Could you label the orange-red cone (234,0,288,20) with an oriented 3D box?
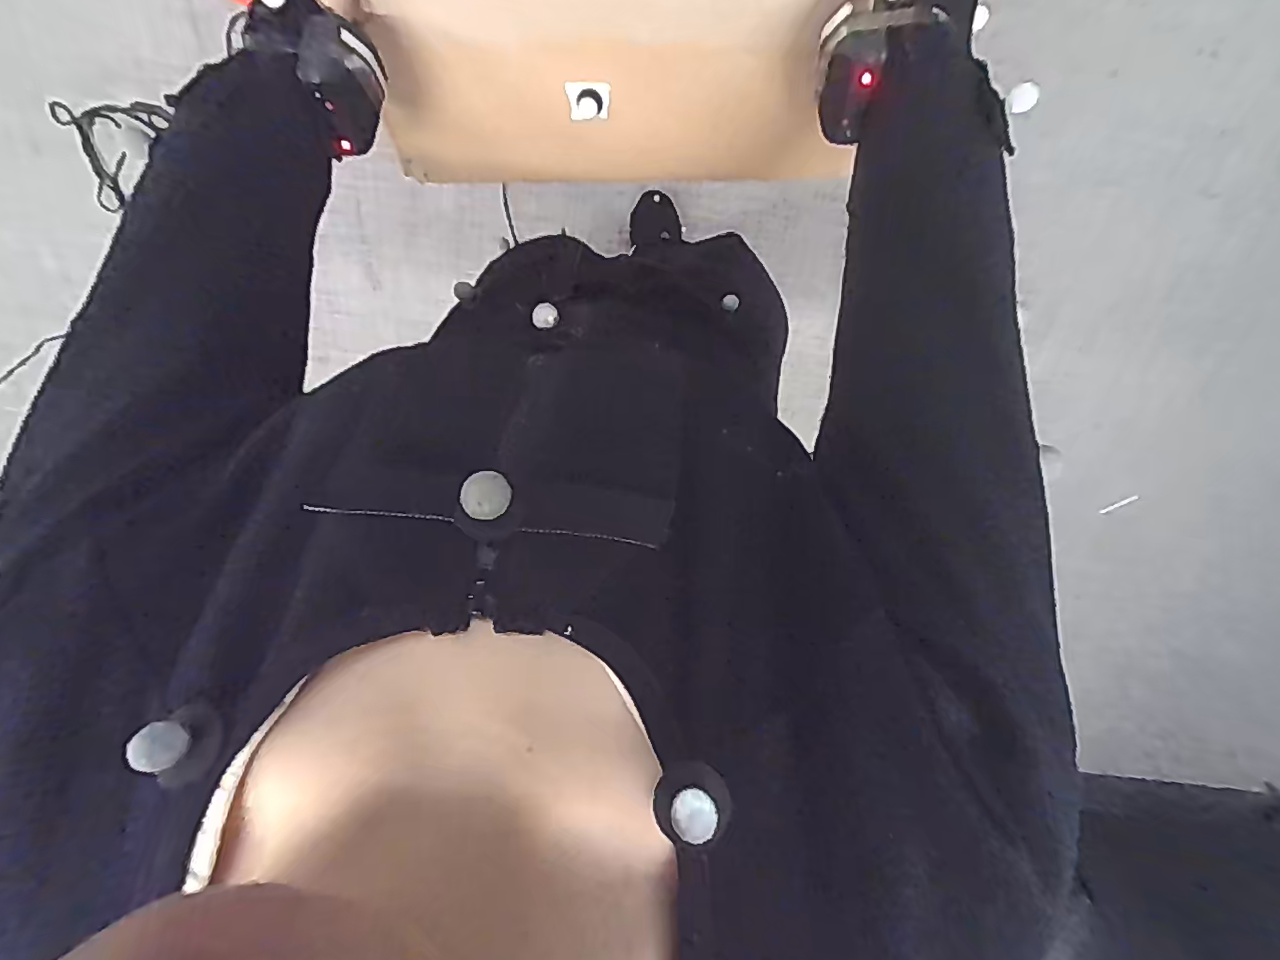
[{"bbox_3d":[-0.724,-0.905,0.811,0.199,0.360,0.198,26,113,-8],"label":"orange-red cone"}]
